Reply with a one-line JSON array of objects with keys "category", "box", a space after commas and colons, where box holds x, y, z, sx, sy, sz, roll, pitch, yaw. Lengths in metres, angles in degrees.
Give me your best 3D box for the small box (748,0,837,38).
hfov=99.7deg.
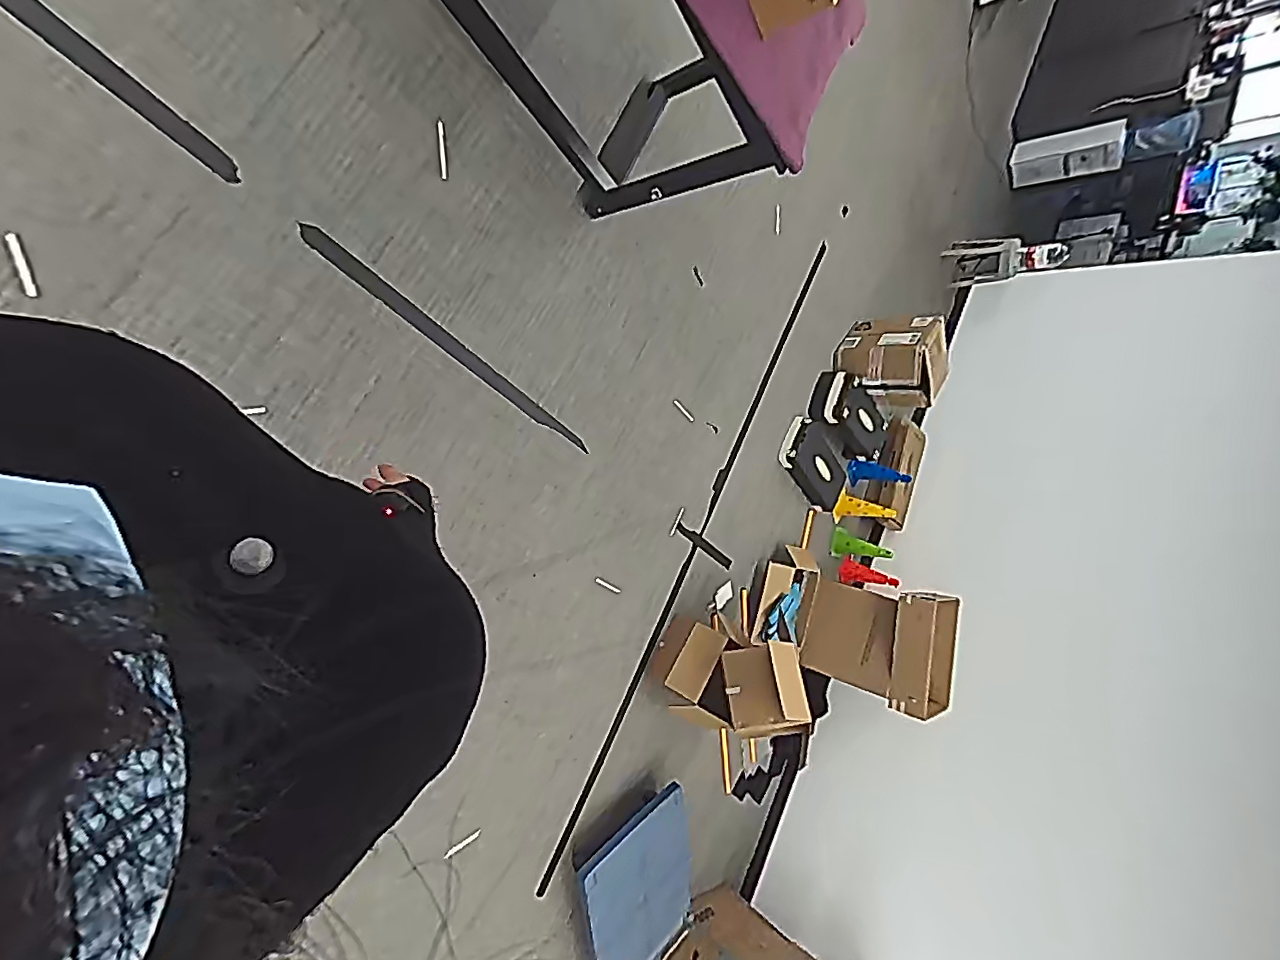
[{"category": "small box", "box": [0.313, -1.064, 1.101, 0.179, 0.176, 0.168, 43, 67, -43]}]
